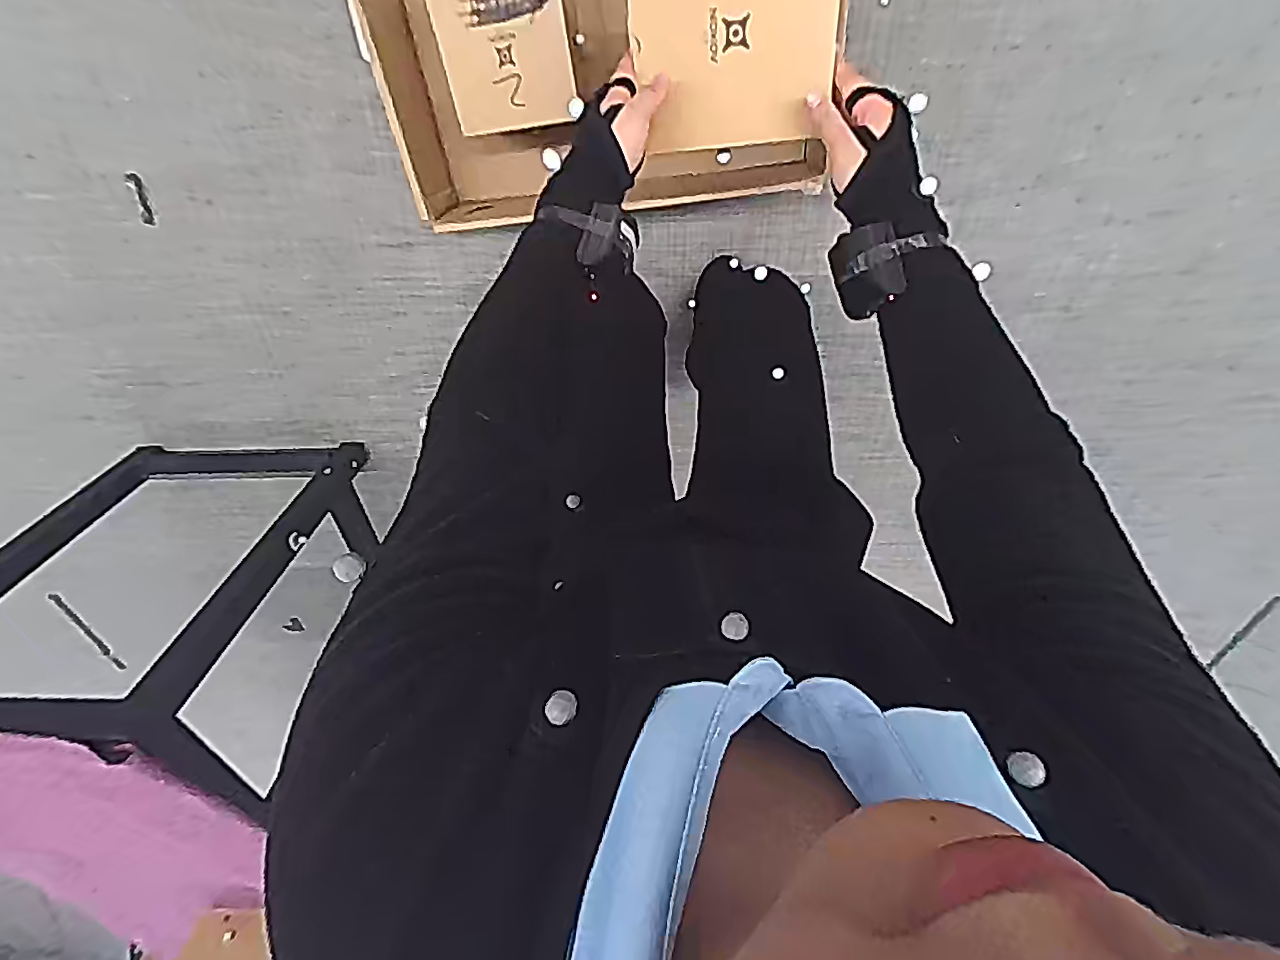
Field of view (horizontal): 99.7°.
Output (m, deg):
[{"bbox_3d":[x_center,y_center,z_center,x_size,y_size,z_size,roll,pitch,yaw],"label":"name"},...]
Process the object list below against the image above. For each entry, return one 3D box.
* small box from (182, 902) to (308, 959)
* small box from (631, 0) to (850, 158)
[{"bbox_3d":[-0.864,1.049,1.173,0.168,0.176,0.179,0,126,2],"label":"small box"},{"bbox_3d":[0.091,-0.417,0.508,0.179,0.176,0.168,0,128,10],"label":"small box"}]
